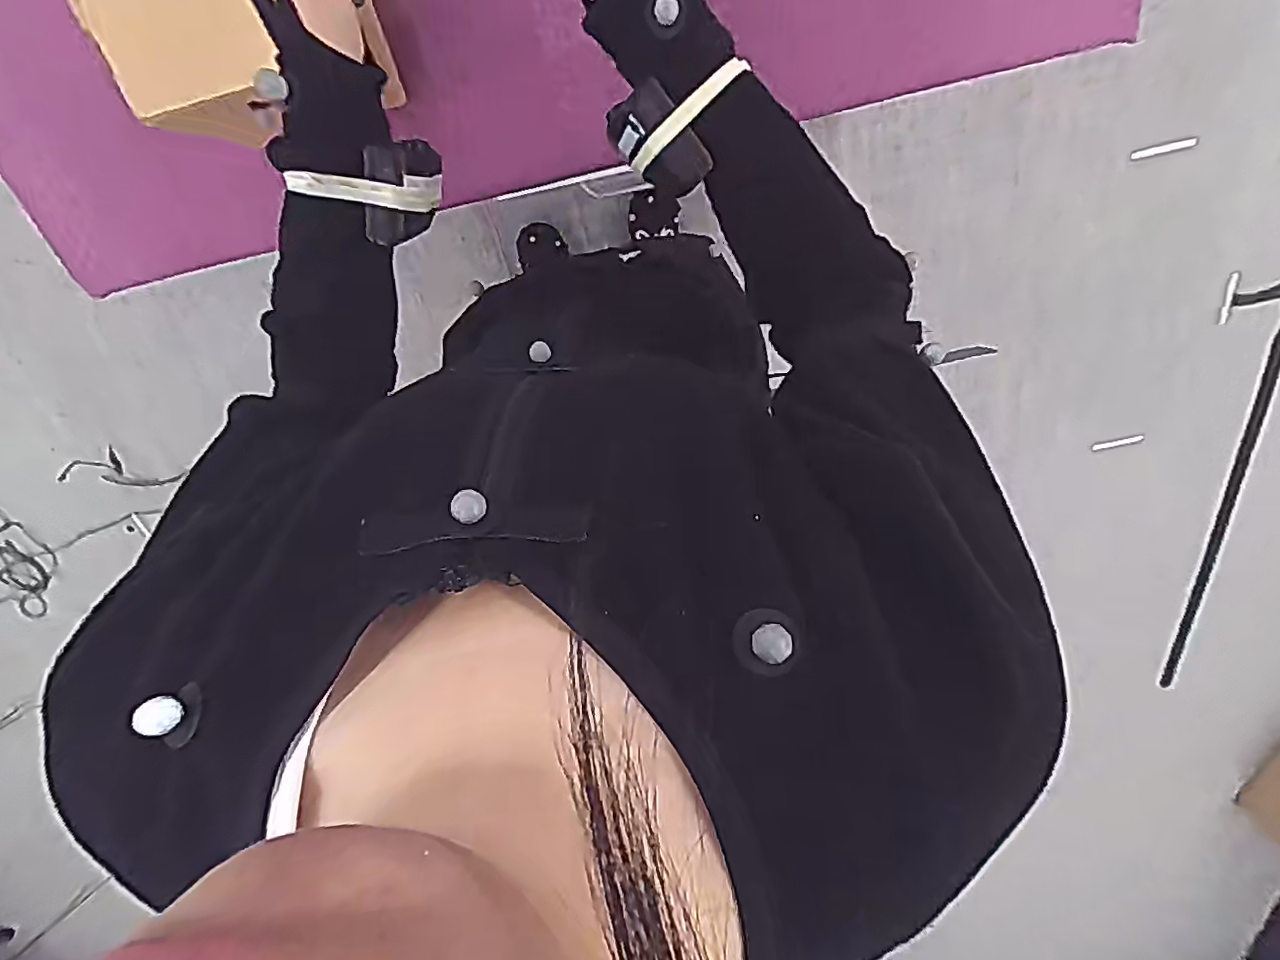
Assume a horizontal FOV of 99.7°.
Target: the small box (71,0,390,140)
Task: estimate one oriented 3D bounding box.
[{"bbox_3d":[-0.341,-0.412,0.463,0.179,0.176,0.168,-14,117,3],"label":"small box"}]
